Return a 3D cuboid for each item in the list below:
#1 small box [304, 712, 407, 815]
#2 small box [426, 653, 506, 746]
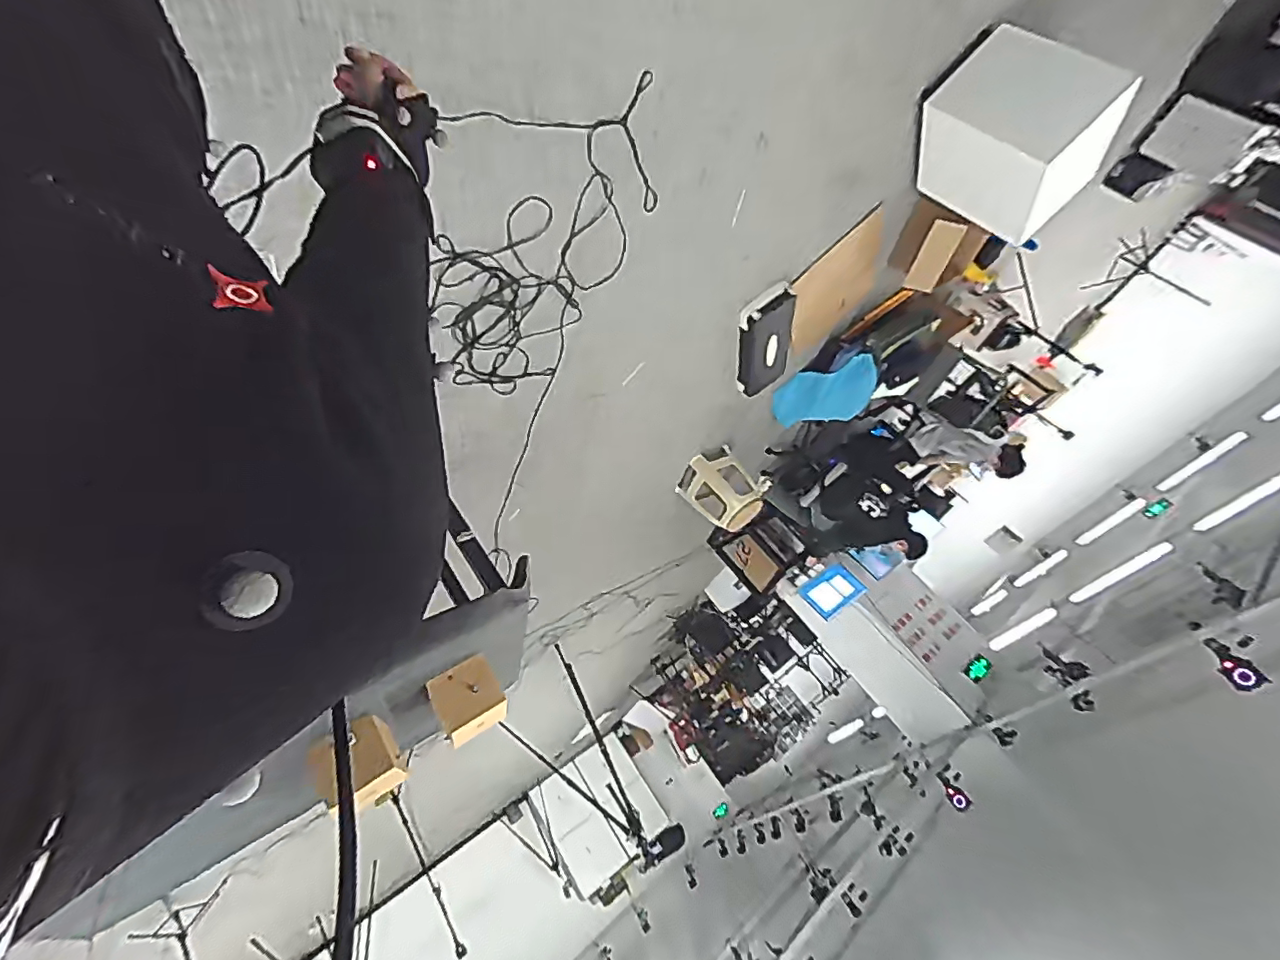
[{"bbox_3d":[-0.737,0.736,1.410,0.168,0.176,0.179,-30,153,-26],"label":"small box"},{"bbox_3d":[-0.506,0.630,1.568,0.168,0.176,0.179,-25,153,-31],"label":"small box"}]
